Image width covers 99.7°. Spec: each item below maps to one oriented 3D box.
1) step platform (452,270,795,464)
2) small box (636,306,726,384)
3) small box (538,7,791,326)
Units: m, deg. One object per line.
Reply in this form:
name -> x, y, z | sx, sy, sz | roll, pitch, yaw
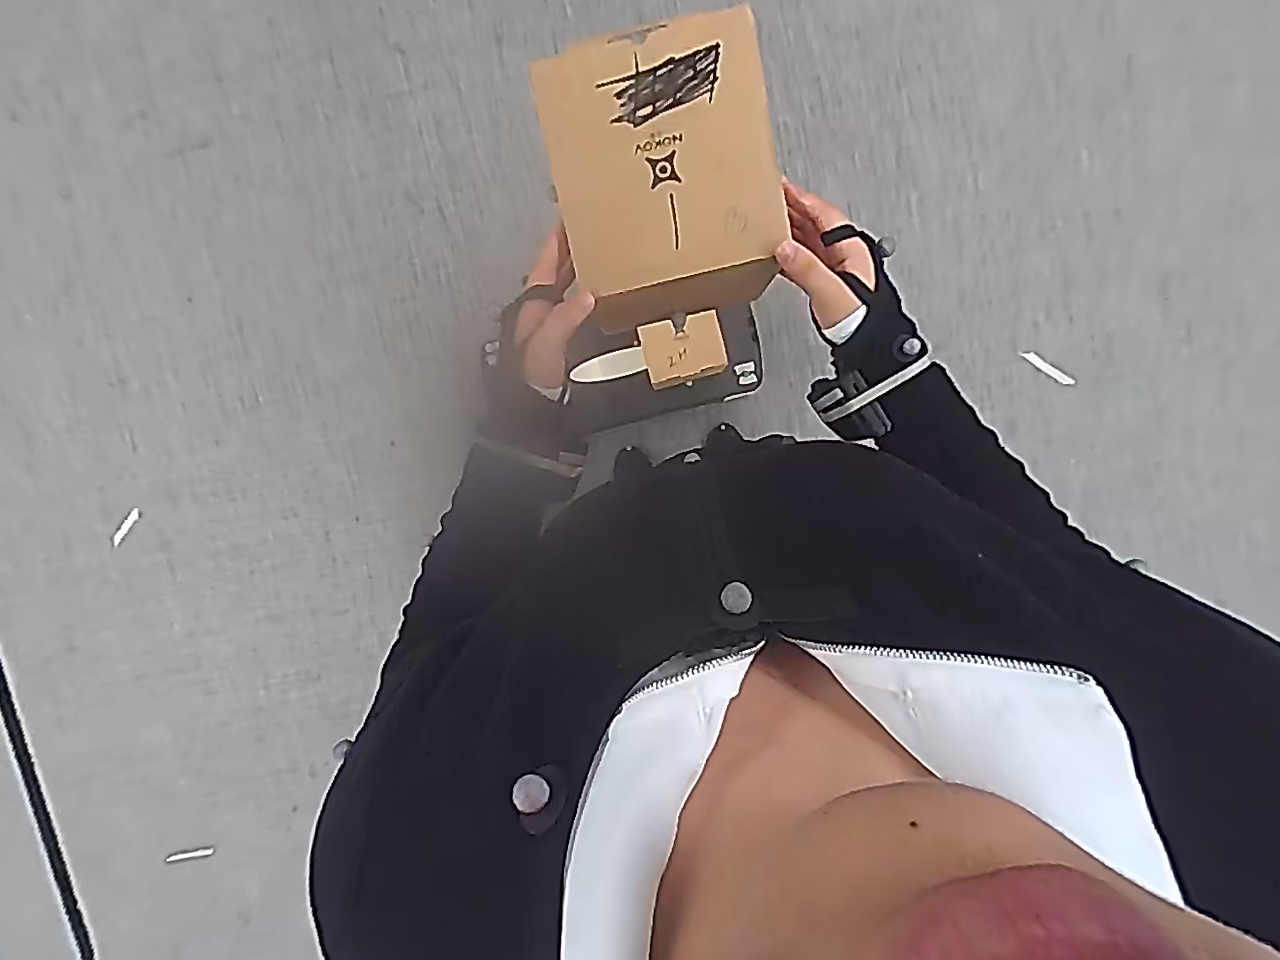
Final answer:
step platform -> -0.035, -0.248, 1.175 | 0.684, 0.204, 0.286 | -14, 94, 3
small box -> 0.084, -0.318, 1.199 | 0.168, 0.176, 0.179 | -15, 94, 4
small box -> 0.022, -0.253, 0.483 | 0.168, 0.176, 0.179 | -11, 97, 5
